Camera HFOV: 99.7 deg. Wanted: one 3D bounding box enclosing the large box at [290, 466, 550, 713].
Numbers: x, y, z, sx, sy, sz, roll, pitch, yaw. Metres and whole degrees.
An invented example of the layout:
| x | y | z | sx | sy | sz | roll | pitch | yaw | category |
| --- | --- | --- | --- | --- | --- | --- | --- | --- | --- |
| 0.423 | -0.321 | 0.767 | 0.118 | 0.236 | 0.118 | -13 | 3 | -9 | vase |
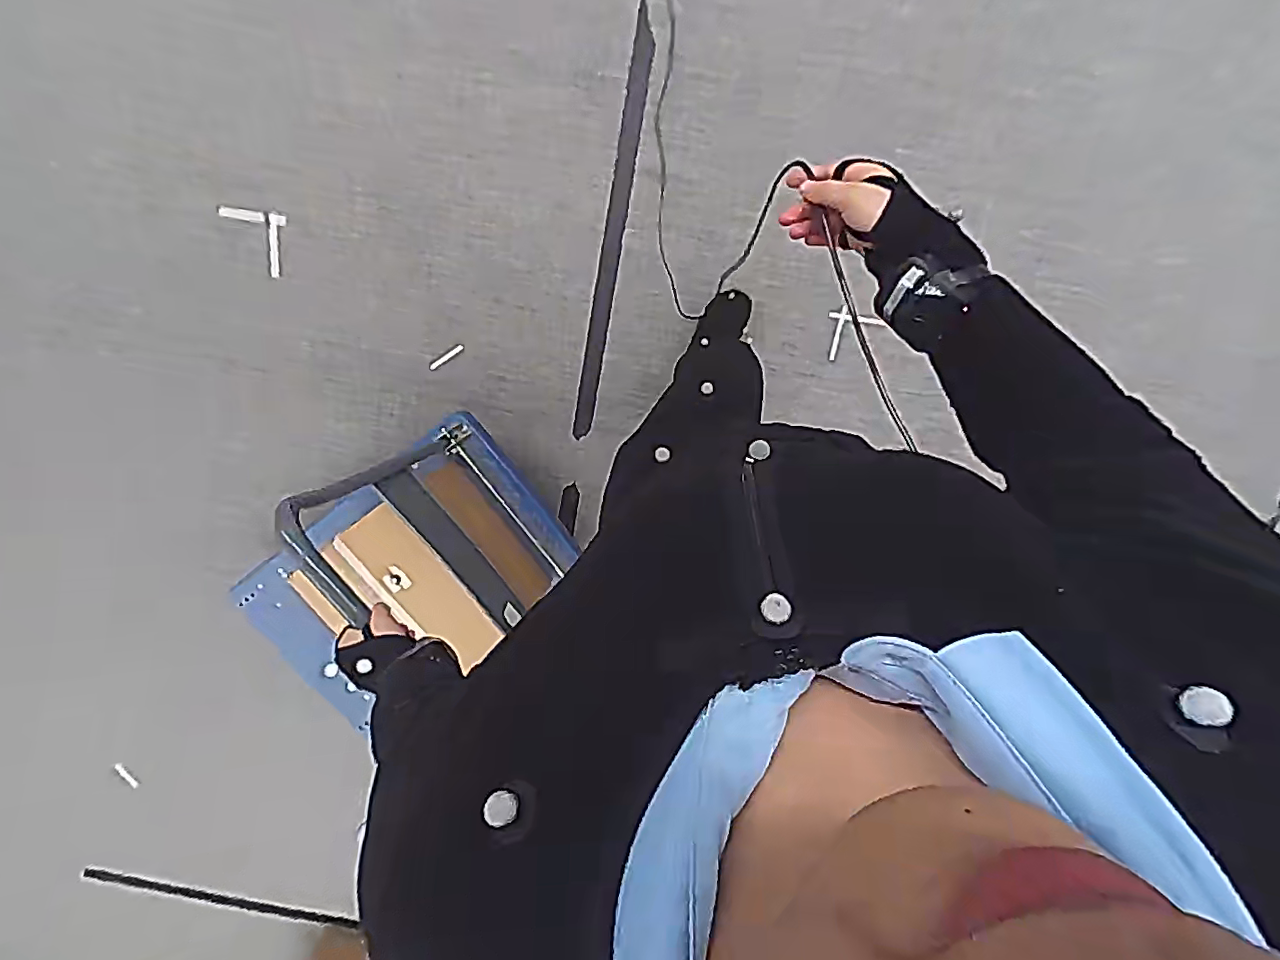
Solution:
| x | y | z | sx | sy | sz | roll | pitch | yaw | category |
| --- | --- | --- | --- | --- | --- | --- | --- | --- | --- |
| -0.476 | 0.238 | 1.263 | 0.320 | 0.320 | 0.408 | -35 | 100 | 11 | large box |
